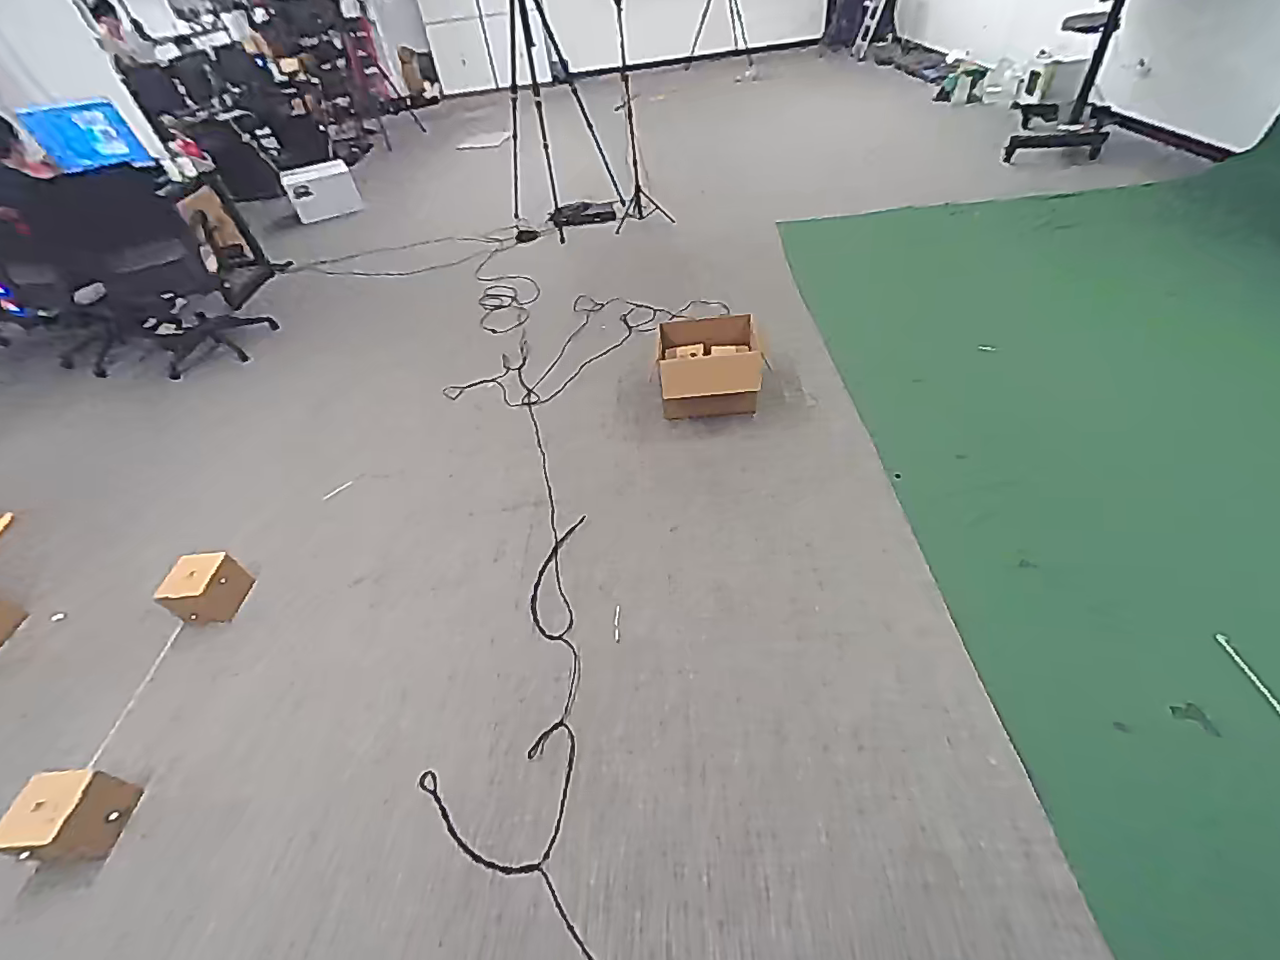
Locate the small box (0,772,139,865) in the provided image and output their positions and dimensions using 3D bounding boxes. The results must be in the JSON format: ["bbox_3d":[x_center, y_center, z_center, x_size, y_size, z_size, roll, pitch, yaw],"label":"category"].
[{"bbox_3d":[-1.452,0.860,1.368,0.179,0.176,0.168,-6,45,3],"label":"small box"}]

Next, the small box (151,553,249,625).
[{"bbox_3d":[-1.490,0.374,1.851,0.168,0.176,0.179,-5,46,3],"label":"small box"}]
